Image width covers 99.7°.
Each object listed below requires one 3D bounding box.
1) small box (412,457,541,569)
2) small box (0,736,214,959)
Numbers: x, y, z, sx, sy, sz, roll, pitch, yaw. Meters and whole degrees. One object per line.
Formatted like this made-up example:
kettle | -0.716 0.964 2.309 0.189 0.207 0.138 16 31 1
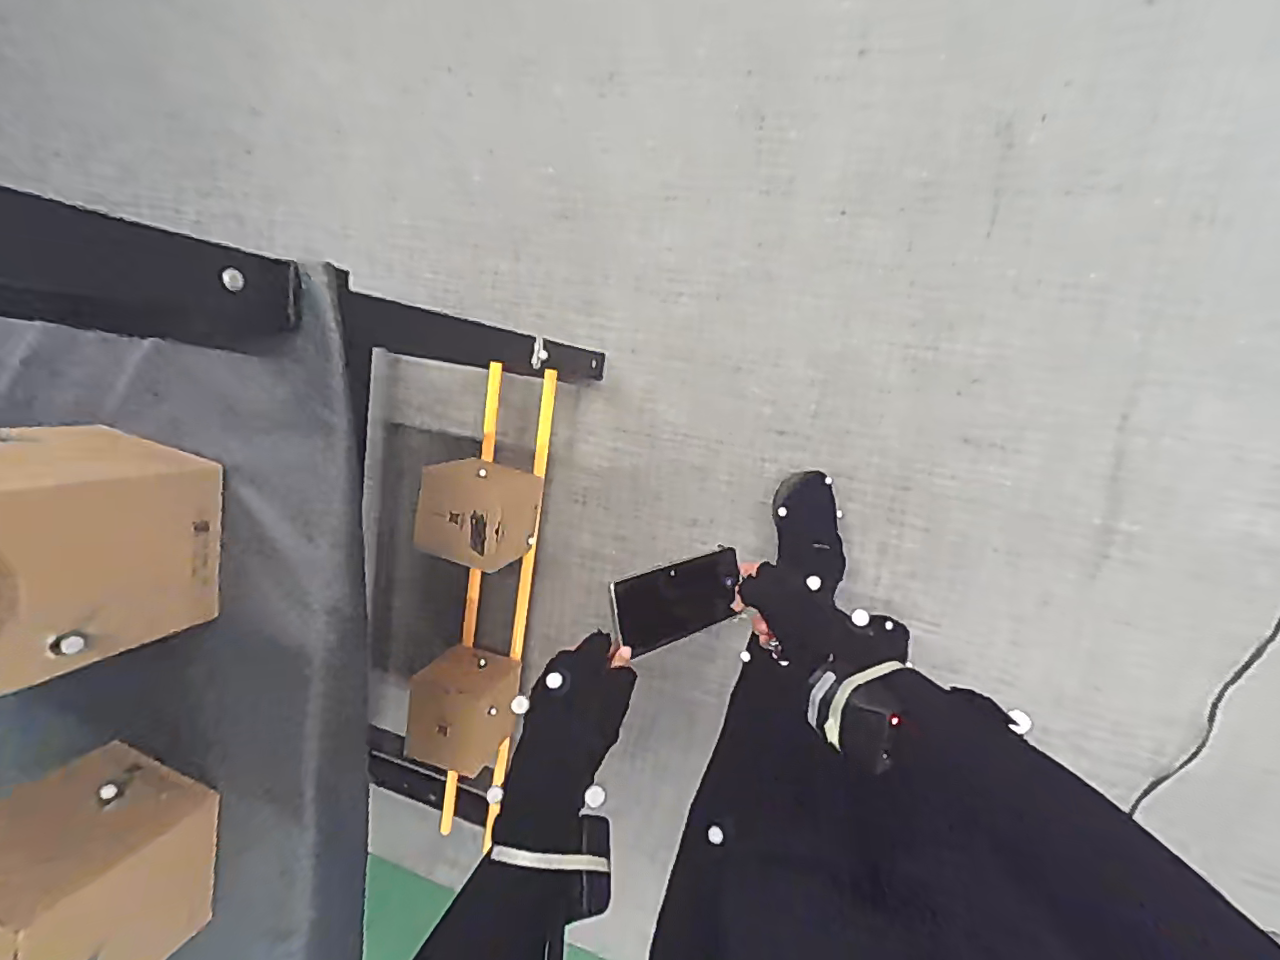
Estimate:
small box | -0.319 0.055 1.081 0.179 0.176 0.168 16 101 13
small box | -0.580 0.407 0.552 0.168 0.176 0.179 16 101 13
